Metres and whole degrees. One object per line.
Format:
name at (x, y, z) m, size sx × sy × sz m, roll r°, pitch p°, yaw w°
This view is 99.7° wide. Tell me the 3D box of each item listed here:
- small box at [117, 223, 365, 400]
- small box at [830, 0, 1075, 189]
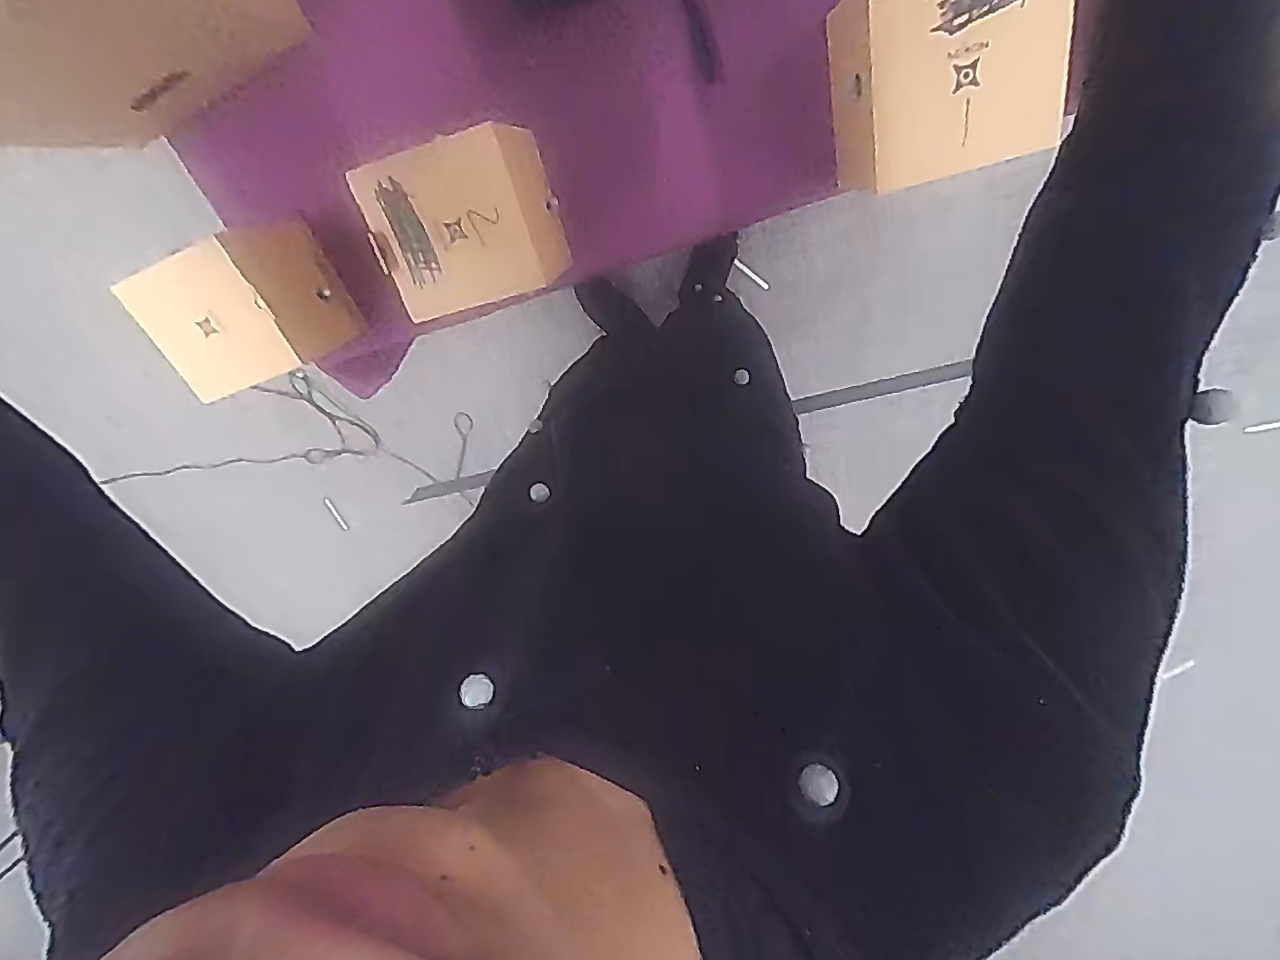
small box at (-0.526, -0.234, 0.743) m, size 0.179 × 0.176 × 0.168 m, roll -17°, pitch 117°, yaw 14°
small box at (0.297, -0.413, 0.547) m, size 0.168 × 0.176 × 0.179 m, roll -10°, pitch 120°, yaw 12°
